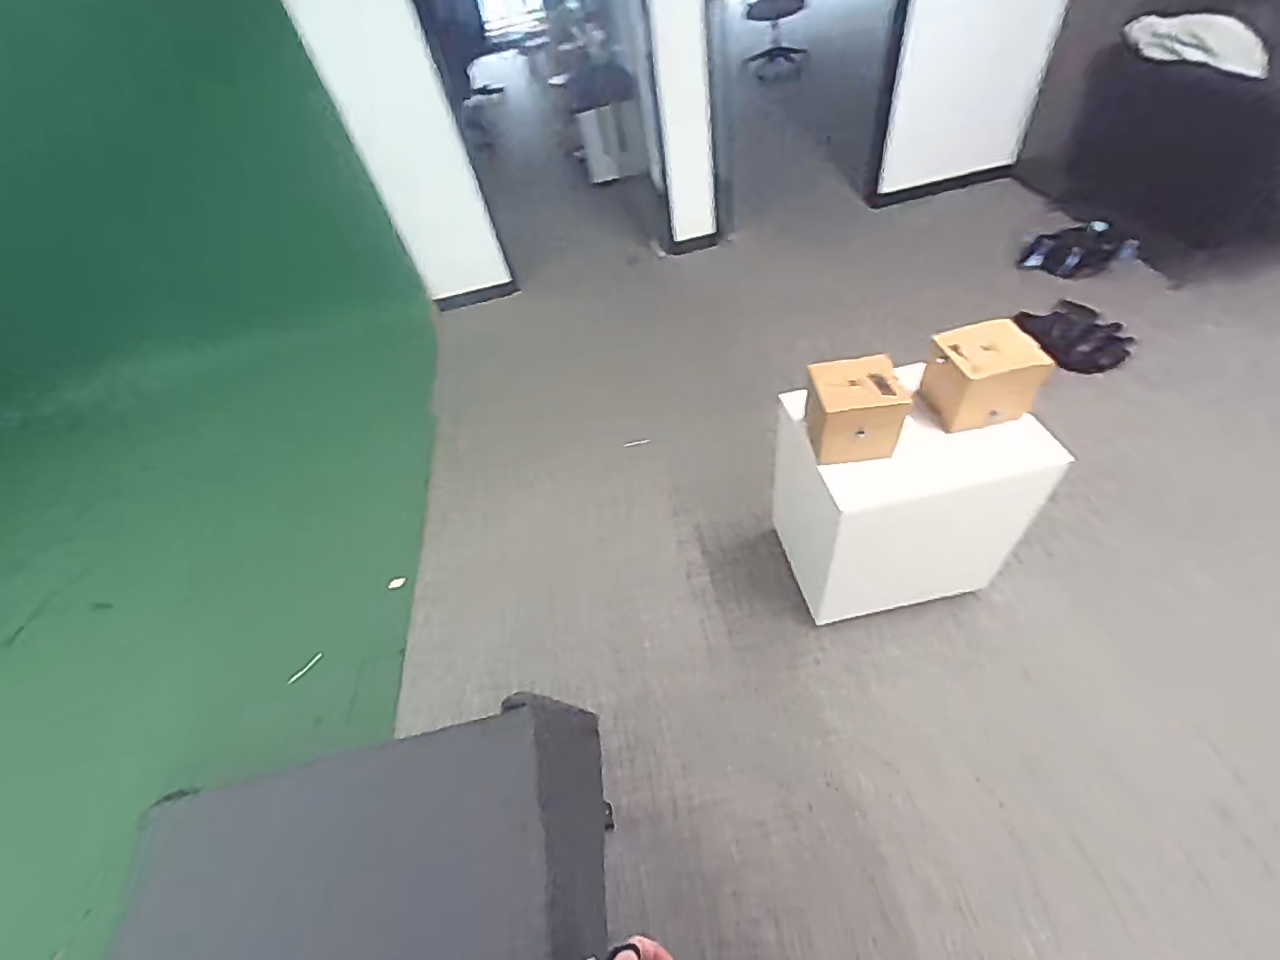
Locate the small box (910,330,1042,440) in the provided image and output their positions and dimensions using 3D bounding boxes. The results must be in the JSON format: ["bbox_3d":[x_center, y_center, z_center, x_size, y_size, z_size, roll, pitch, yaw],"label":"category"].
[{"bbox_3d":[0.757,-0.215,1.241,0.179,0.176,0.168,-11,48,-1],"label":"small box"}]

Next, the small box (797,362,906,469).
[{"bbox_3d":[0.466,-0.143,1.222,0.179,0.176,0.168,-6,48,4],"label":"small box"}]
